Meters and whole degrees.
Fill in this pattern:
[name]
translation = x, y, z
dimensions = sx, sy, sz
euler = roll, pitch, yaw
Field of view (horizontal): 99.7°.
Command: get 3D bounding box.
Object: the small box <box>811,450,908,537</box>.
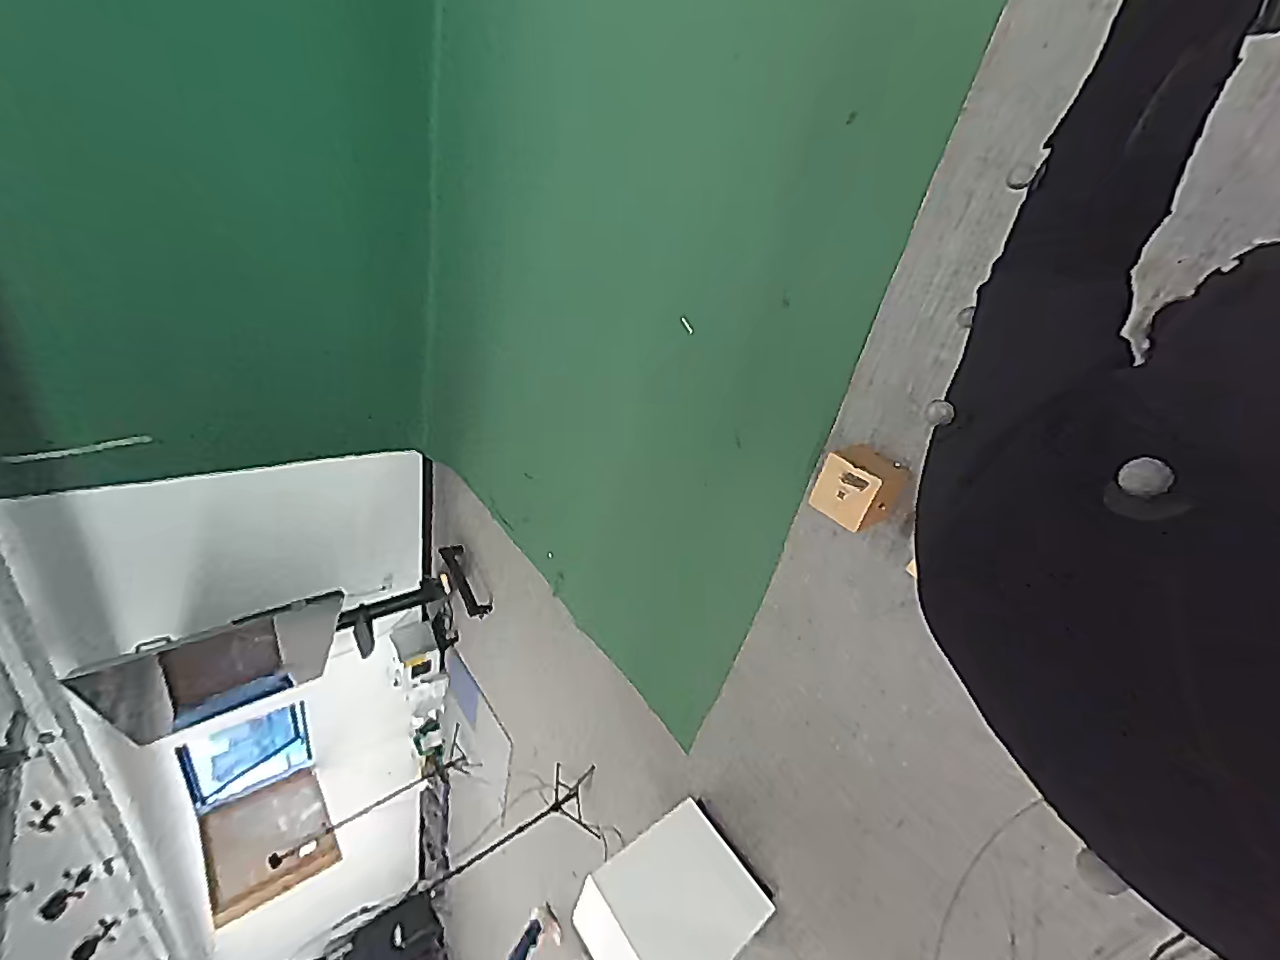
[small box]
translation = 0.623, 0.030, 1.526
dimensions = 0.168, 0.176, 0.179
euler = 40, 128, 38
